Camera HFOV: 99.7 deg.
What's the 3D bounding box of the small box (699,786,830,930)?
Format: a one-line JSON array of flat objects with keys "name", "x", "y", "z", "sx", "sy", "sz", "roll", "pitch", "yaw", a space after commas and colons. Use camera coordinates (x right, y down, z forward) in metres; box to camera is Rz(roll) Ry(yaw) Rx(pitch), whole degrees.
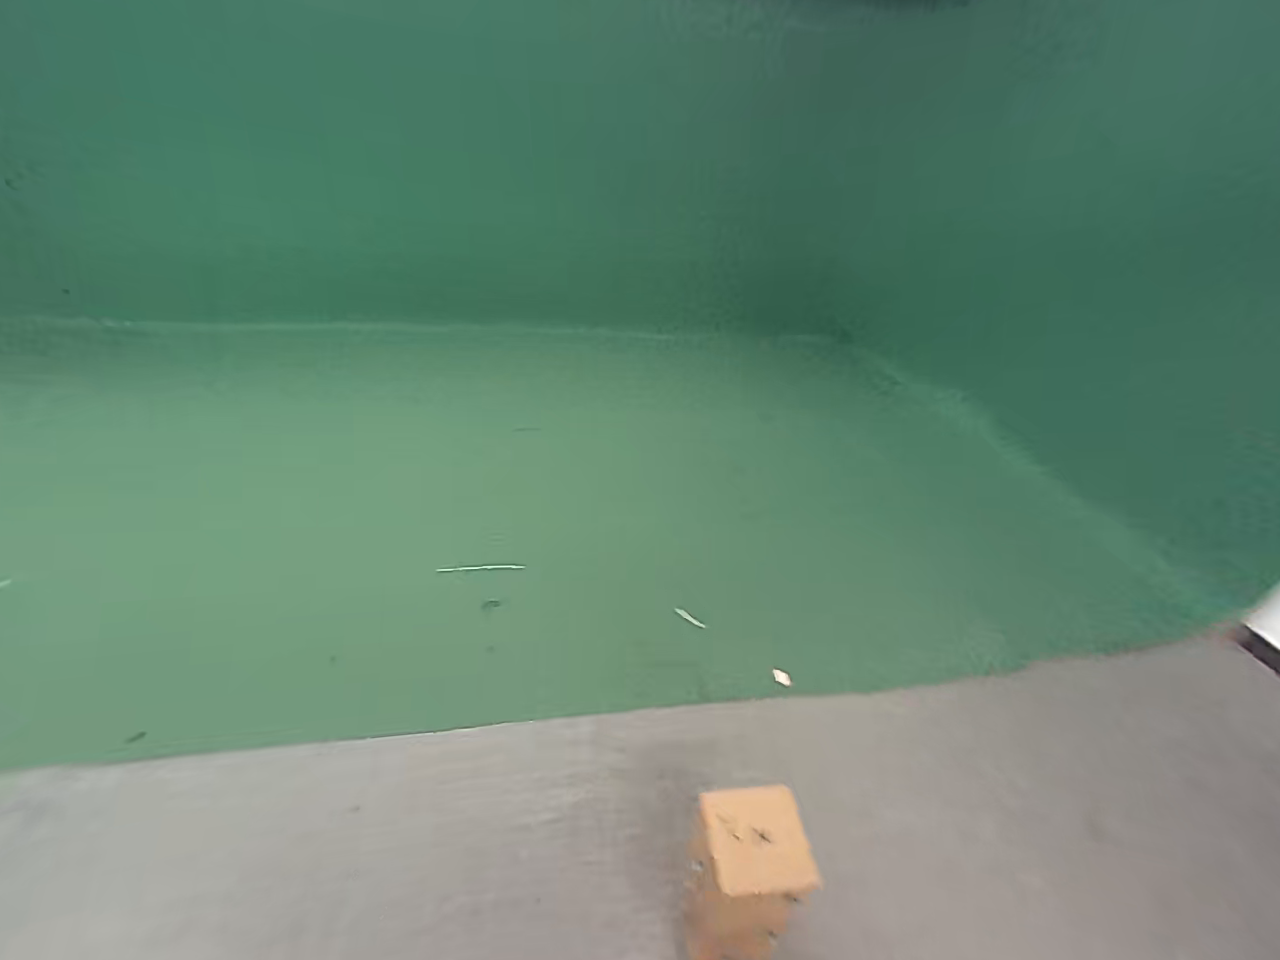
[{"name": "small box", "x": 0.217, "y": 0.692, "z": 0.994, "sx": 0.179, "sy": 0.176, "sz": 0.168, "roll": -1, "pitch": 35, "yaw": -7}]
